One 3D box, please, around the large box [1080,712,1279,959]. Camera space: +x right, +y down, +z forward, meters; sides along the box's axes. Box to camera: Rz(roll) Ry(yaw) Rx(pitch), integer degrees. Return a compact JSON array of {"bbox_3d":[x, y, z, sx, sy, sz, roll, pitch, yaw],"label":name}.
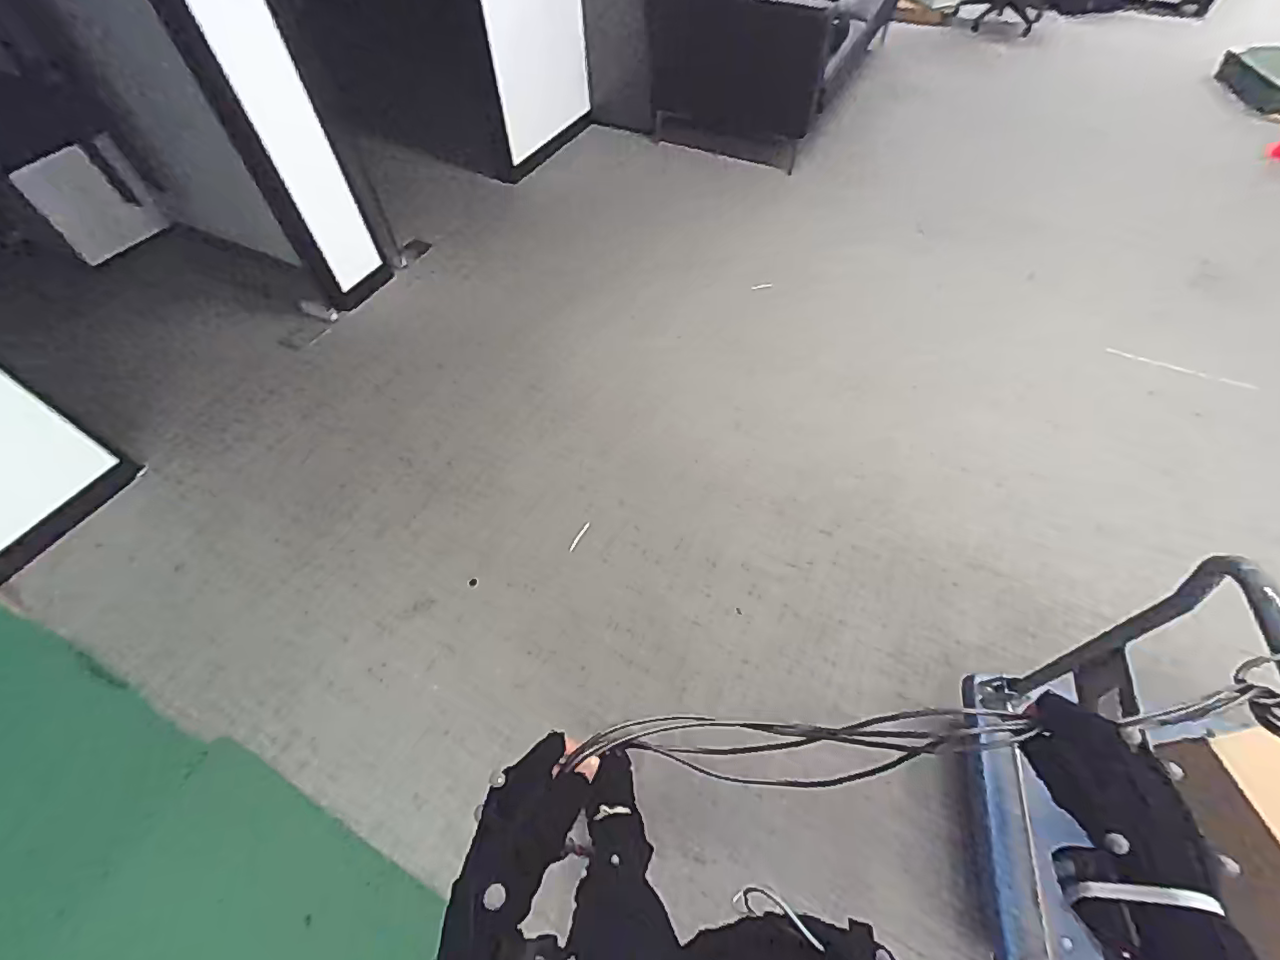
[{"bbox_3d":[1.082,0.634,0.896,0.320,0.320,0.408,-8,54,-5],"label":"large box"}]
